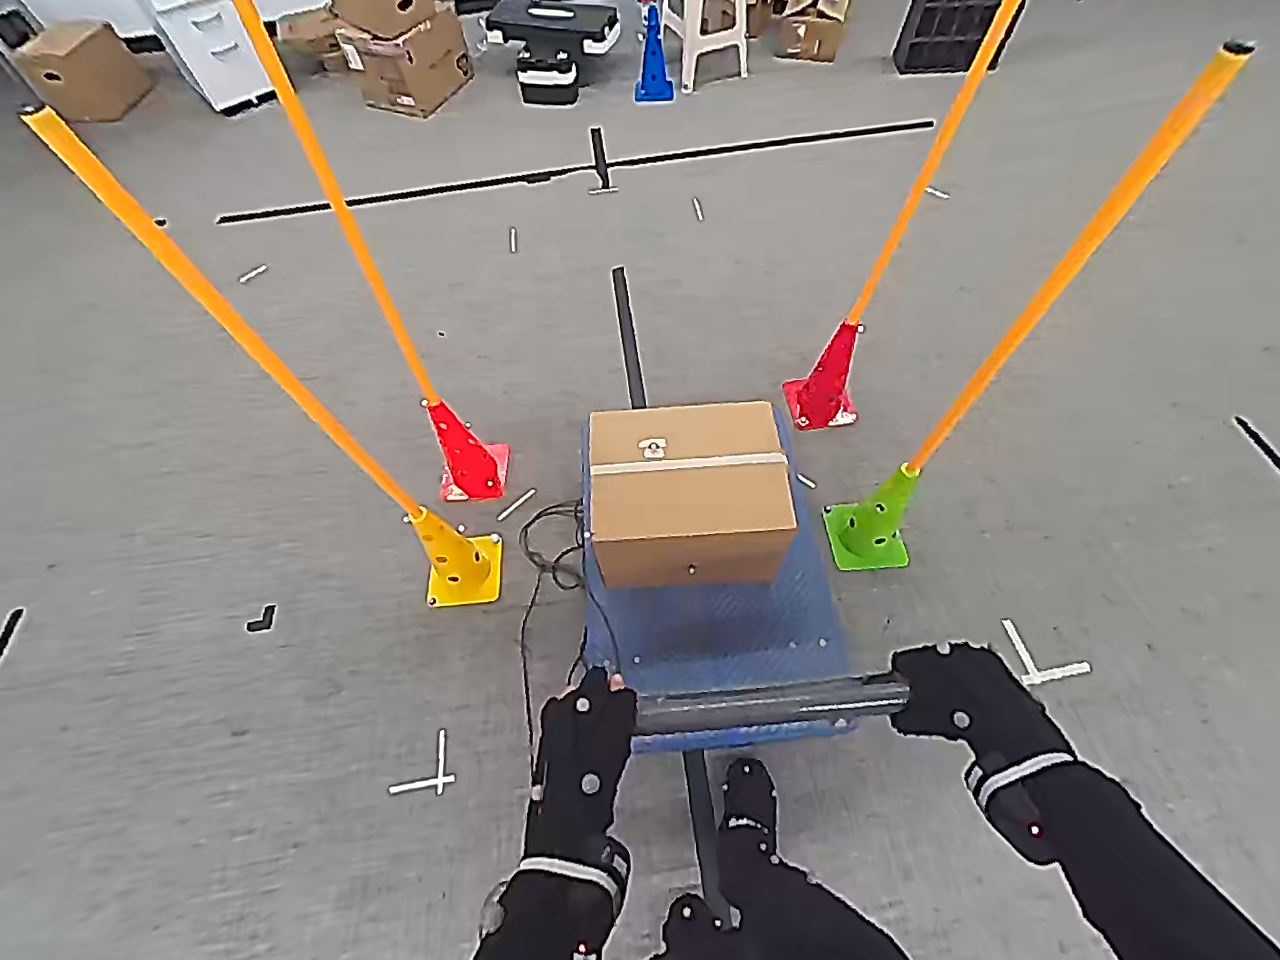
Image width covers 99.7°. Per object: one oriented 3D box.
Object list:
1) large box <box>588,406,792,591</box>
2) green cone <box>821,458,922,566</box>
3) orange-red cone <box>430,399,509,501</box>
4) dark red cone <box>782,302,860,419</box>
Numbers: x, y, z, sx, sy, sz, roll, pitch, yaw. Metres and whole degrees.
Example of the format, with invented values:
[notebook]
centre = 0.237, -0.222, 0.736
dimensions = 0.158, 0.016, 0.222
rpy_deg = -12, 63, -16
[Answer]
[large box]
centre = 0.102, 0.056, 1.259
dimensions = 0.408, 0.320, 0.320
rpy_deg = -5, 60, 2
[green cone]
centre = 0.626, 0.060, 1.388
dimensions = 0.202, 0.368, 0.200
rpy_deg = -5, 59, -1
[orange-red cone]
centre = -0.527, -0.109, 1.564
dimensions = 0.198, 0.360, 0.199
rpy_deg = -2, 58, 2
[dark red cone]
centre = 0.577, -0.364, 1.619
dimensions = 0.201, 0.394, 0.202
rpy_deg = -8, 60, -3
